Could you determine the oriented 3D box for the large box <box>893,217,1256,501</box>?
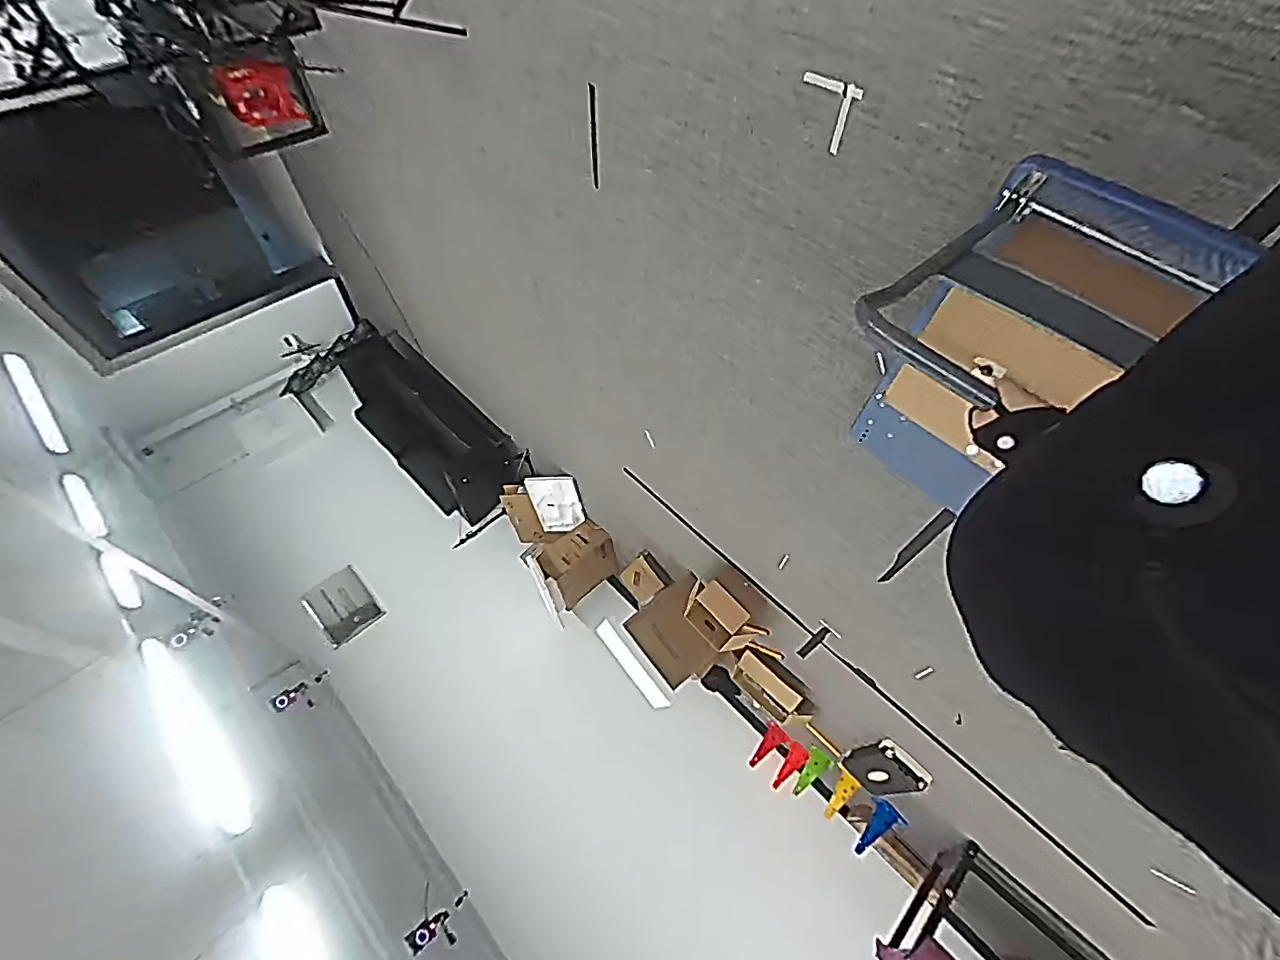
[{"bbox_3d":[0.813,-0.241,1.065,0.408,0.320,0.320,43,154,22],"label":"large box"}]
